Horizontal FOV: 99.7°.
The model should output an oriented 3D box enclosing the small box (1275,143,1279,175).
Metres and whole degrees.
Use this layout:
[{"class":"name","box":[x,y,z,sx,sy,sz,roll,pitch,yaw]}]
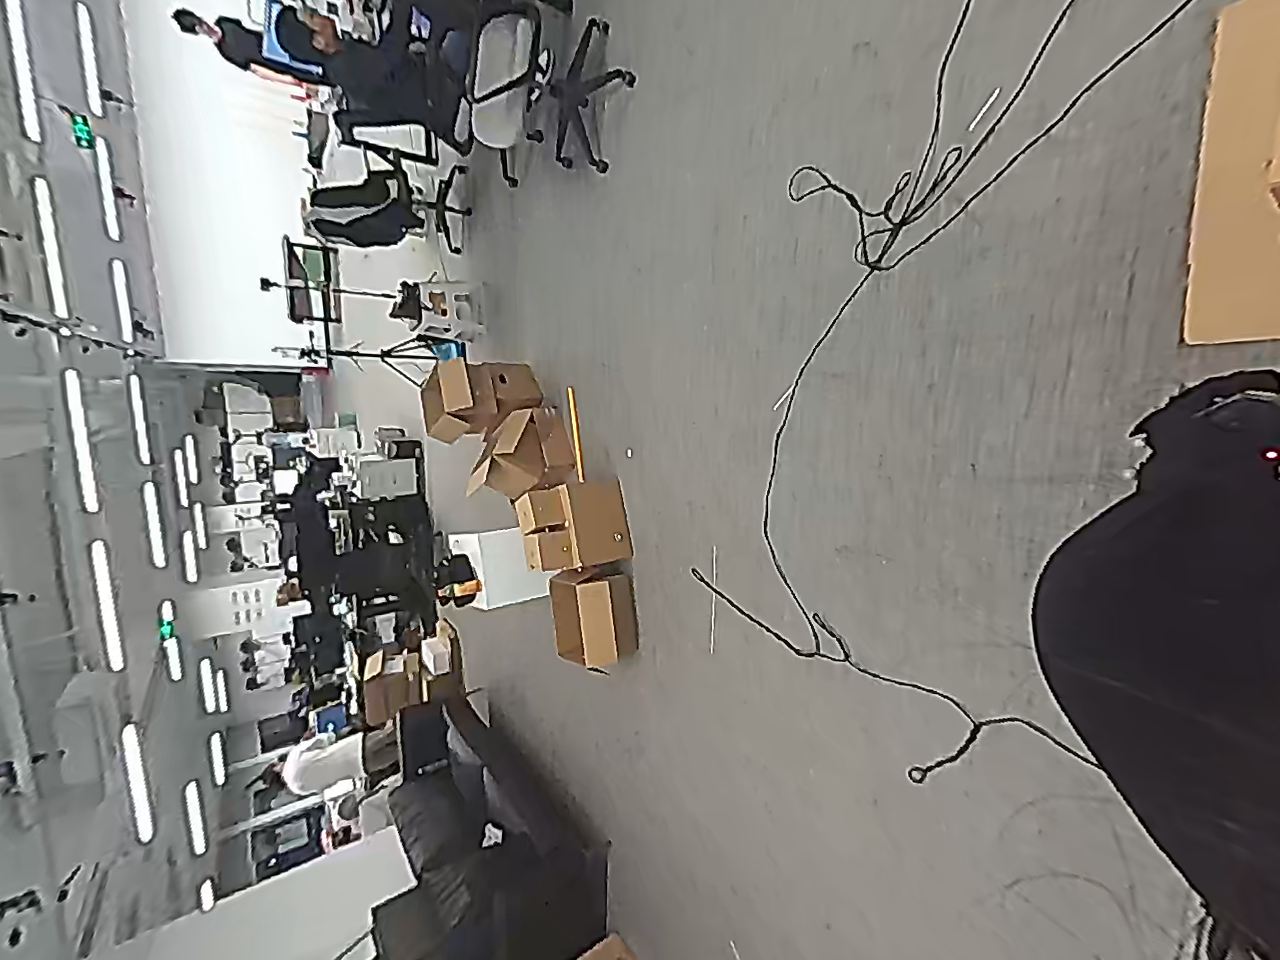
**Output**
[{"class":"small box","box":[0.998,-0.504,0.725,0.168,0.176,0.179,10,103,53]}]
